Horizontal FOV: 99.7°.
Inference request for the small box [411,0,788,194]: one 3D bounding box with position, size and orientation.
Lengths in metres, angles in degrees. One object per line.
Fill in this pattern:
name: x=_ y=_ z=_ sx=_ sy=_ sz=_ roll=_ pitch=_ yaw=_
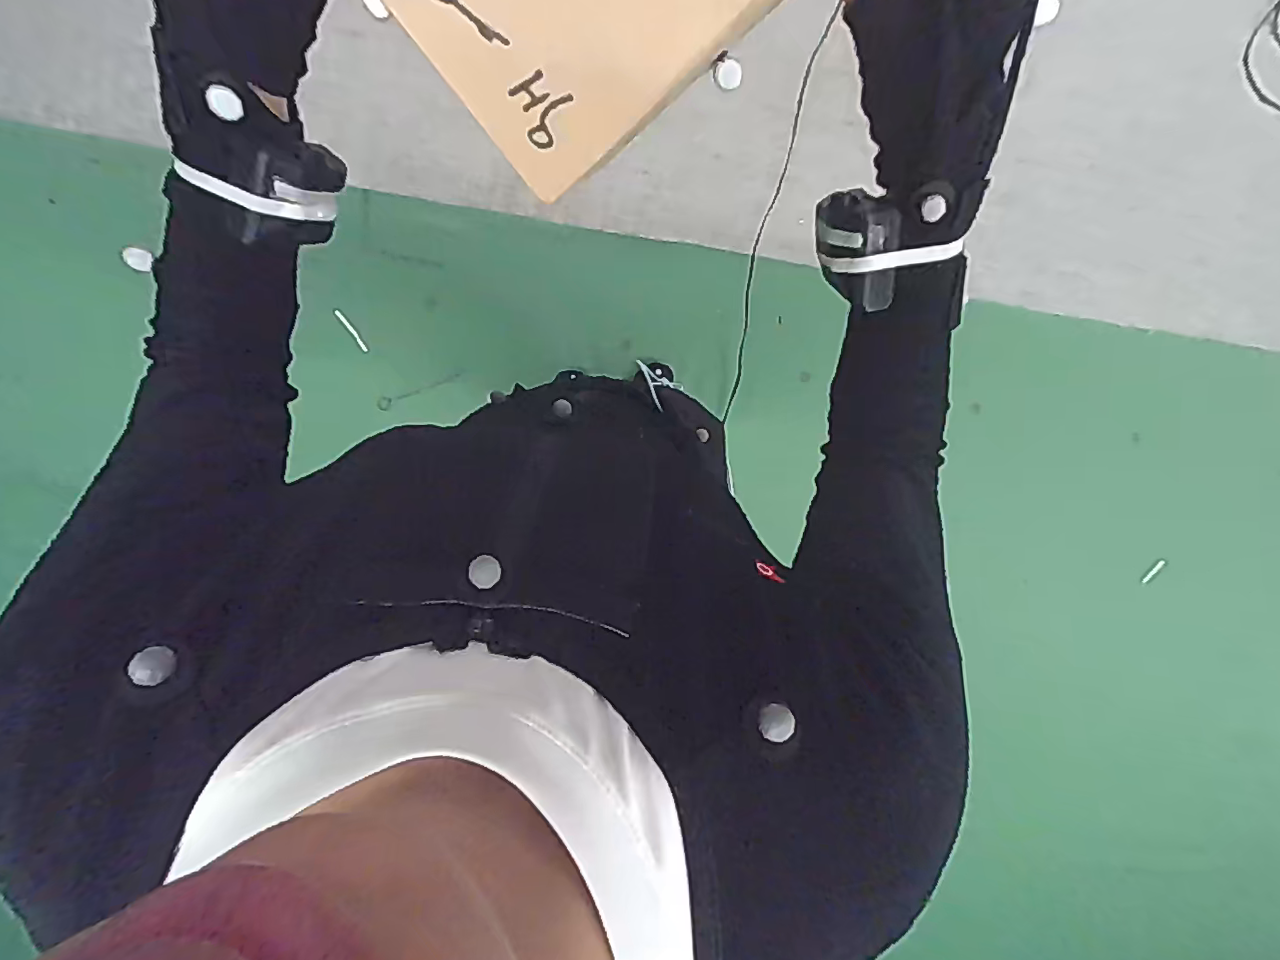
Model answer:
small box: x=-0.009 y=-0.270 z=0.239 sx=0.179 sy=0.176 sz=0.168 roll=-28 pitch=118 yaw=28
